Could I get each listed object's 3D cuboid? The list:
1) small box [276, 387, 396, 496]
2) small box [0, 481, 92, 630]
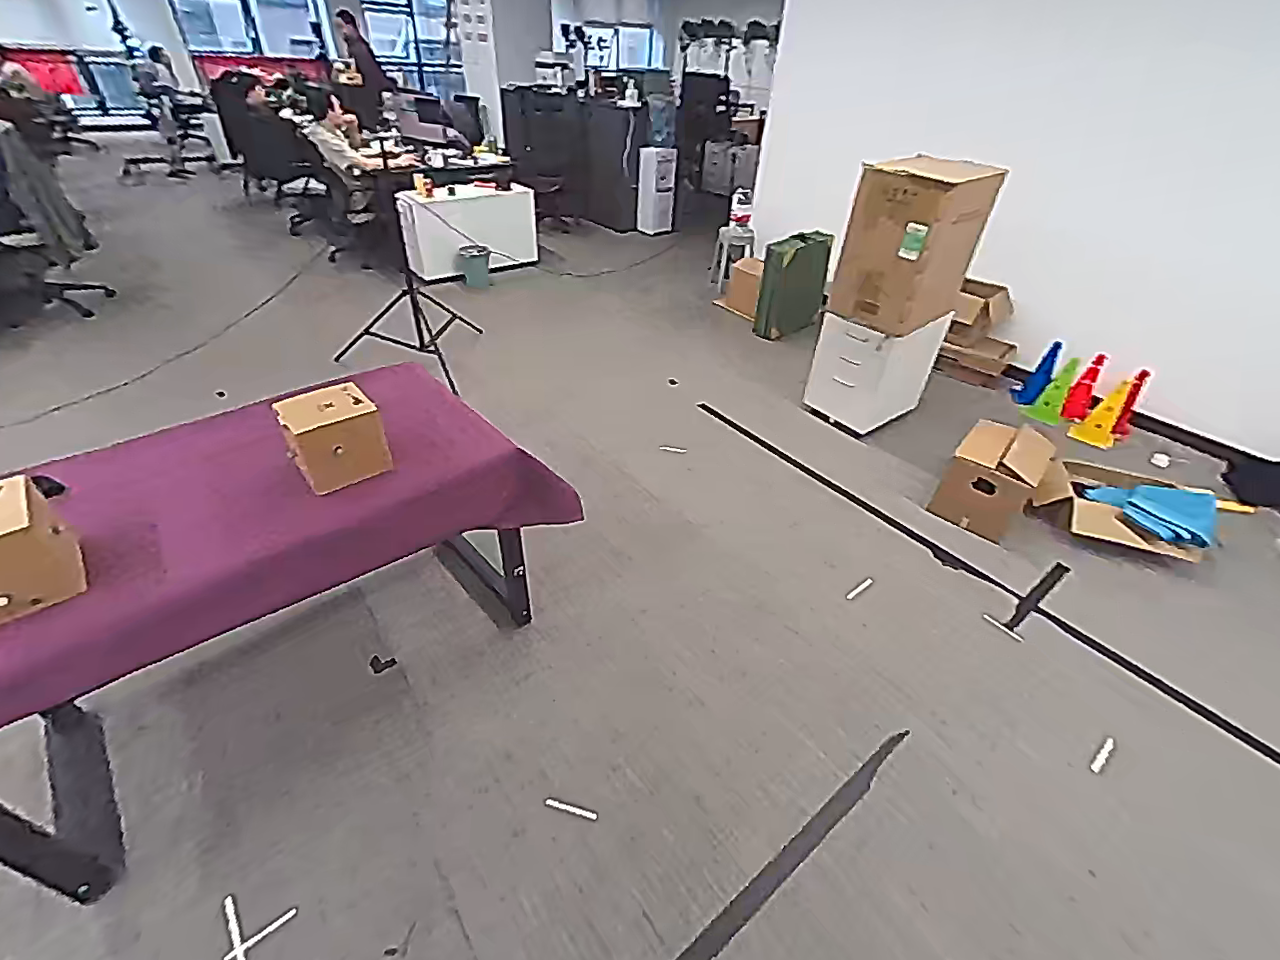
[{"bbox_3d":[-0.700,-0.089,1.258,0.179,0.176,0.168,-28,48,-32],"label":"small box"},{"bbox_3d":[-1.110,0.136,0.939,0.168,0.176,0.179,-28,48,-33],"label":"small box"}]
